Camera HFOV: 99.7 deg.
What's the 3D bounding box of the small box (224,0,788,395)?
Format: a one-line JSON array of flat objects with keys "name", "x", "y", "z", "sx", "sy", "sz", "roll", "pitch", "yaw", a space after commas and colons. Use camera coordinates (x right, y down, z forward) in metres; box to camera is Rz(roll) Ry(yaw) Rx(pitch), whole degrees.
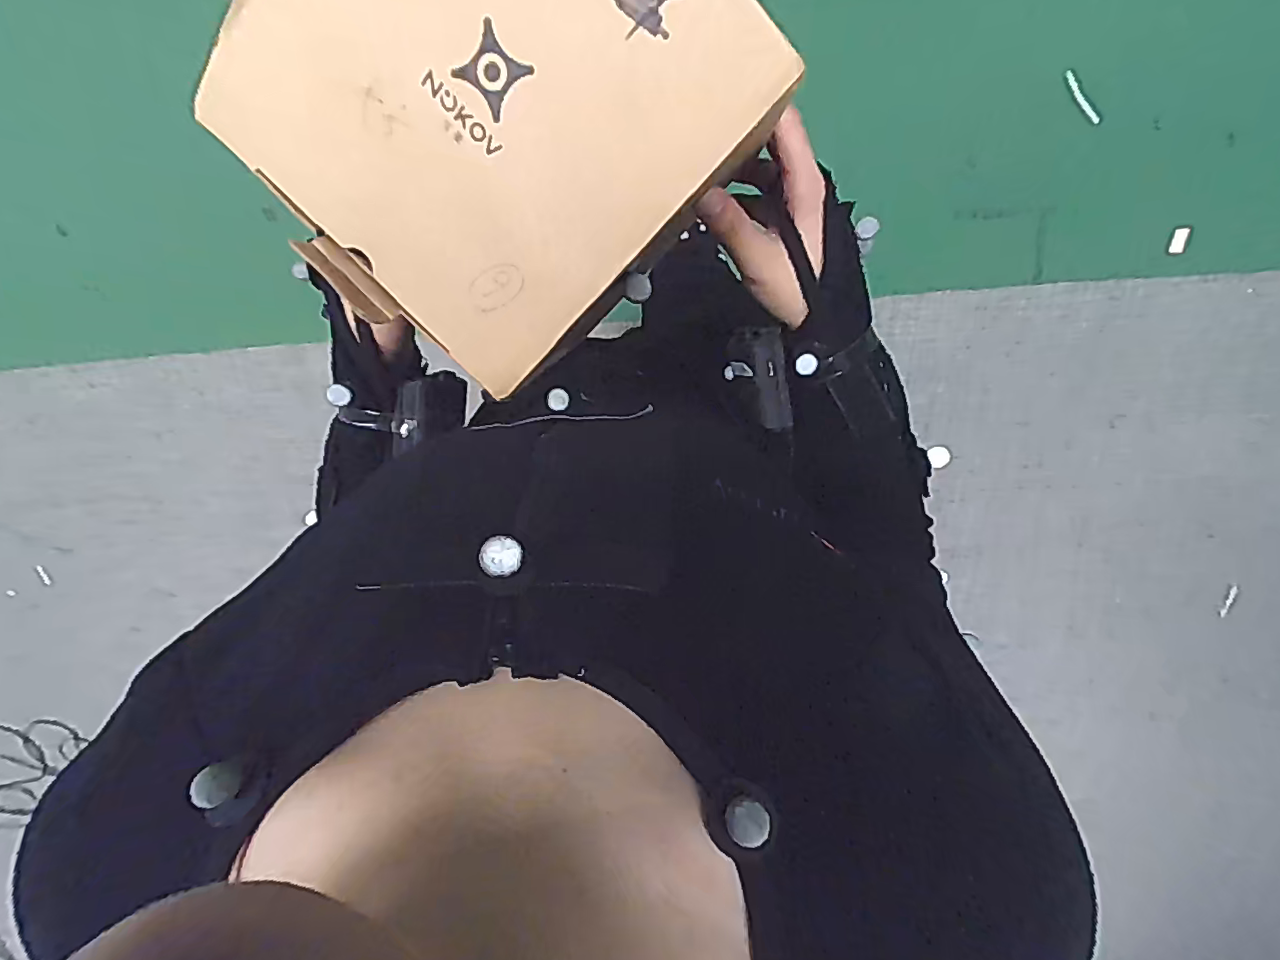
[{"name": "small box", "x": -0.048, "y": -0.177, "z": 0.283, "sx": 0.179, "sy": 0.176, "sz": 0.168, "roll": -41, "pitch": 103, "yaw": 21}]
